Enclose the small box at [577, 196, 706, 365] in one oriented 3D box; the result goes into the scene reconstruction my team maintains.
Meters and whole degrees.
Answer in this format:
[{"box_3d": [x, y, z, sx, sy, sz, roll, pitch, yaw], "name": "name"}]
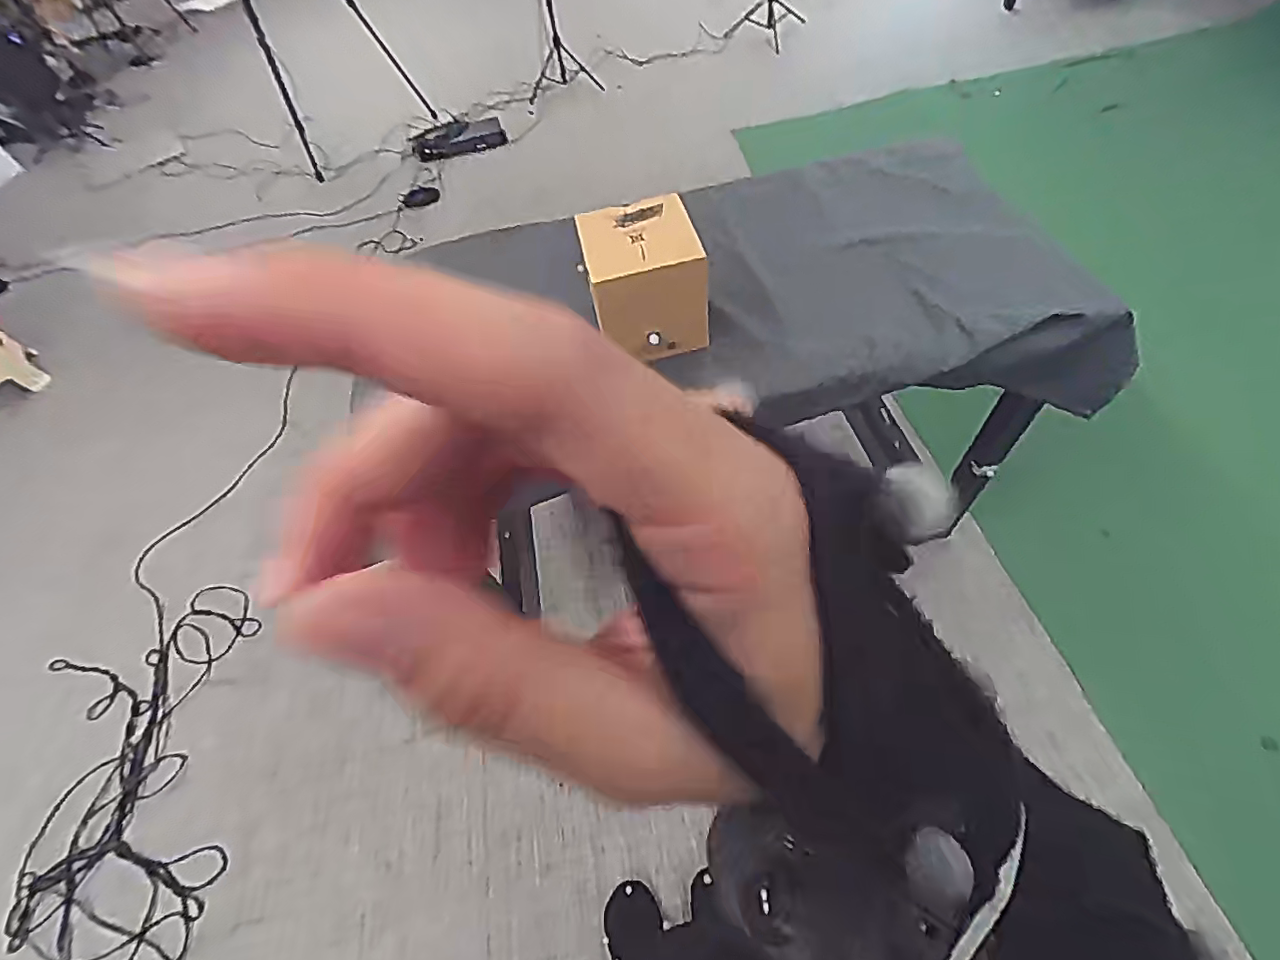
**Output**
[{"box_3d": [0.004, -0.314, 0.861, 0.168, 0.176, 0.179, -13, 56, -1], "name": "small box"}]
